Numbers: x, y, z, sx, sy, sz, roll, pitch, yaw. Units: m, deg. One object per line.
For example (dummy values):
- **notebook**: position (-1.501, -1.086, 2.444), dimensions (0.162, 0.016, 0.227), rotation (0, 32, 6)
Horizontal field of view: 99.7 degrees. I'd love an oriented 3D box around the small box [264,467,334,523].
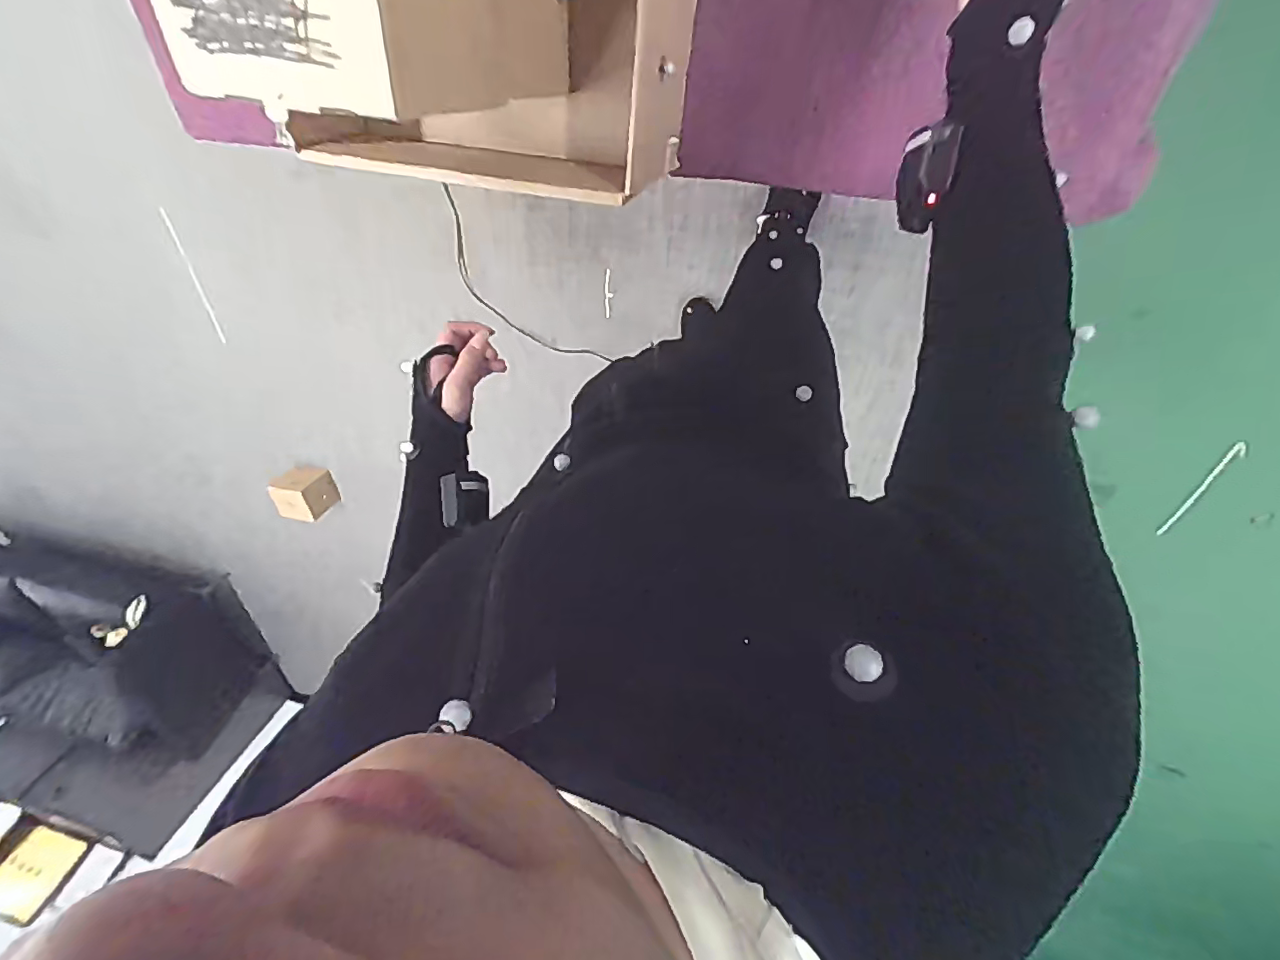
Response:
- **small box**: position (-1.454, 0.061, 2.326), dimensions (0.179, 0.176, 0.168), rotation (8, 127, 12)
